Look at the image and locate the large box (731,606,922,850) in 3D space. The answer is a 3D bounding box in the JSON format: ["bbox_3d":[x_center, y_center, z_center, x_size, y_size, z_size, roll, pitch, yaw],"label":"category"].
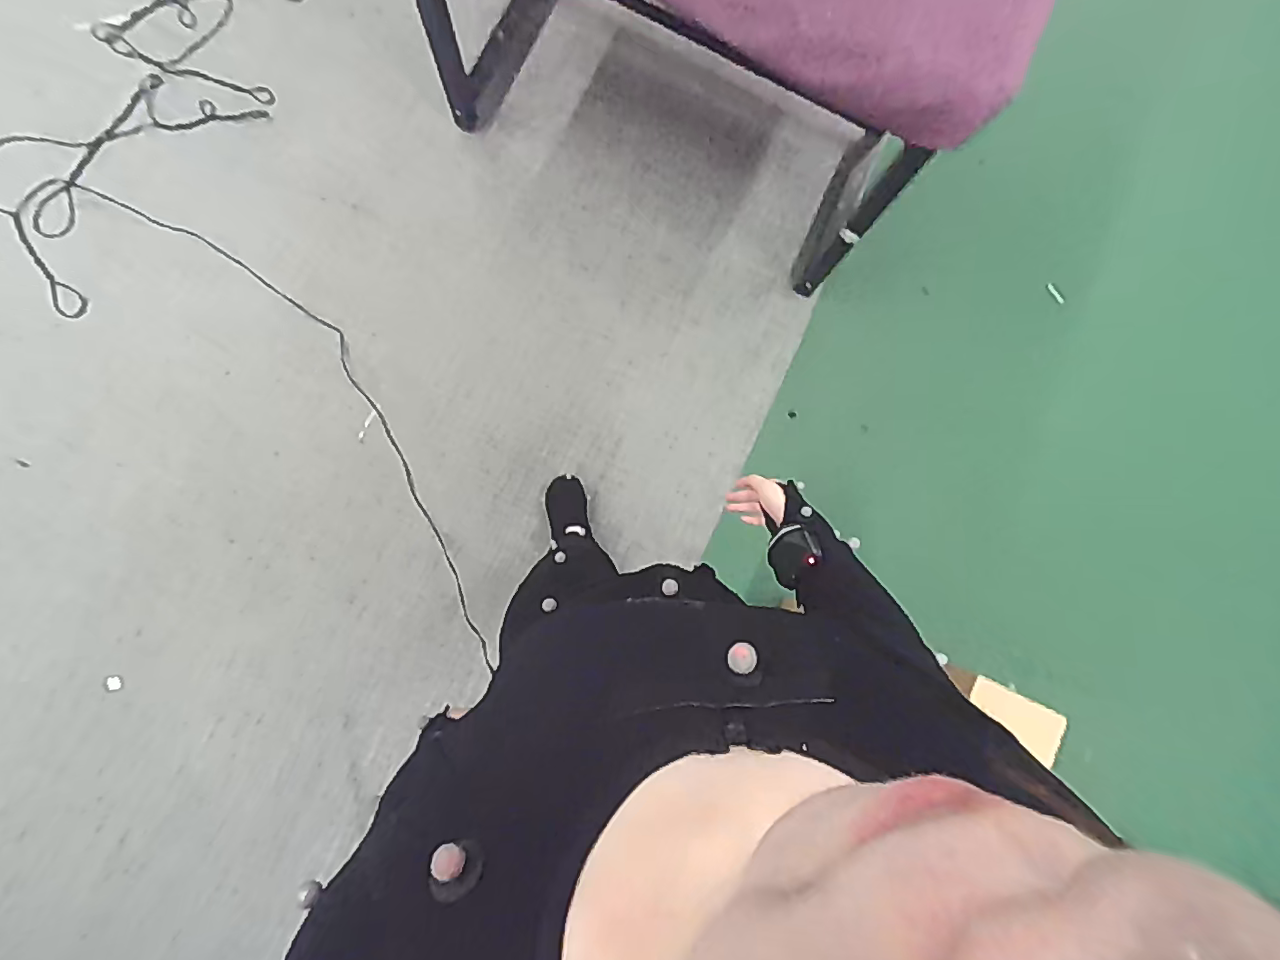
[{"bbox_3d":[0.473,0.571,1.334,0.320,0.320,0.408,27,82,0],"label":"large box"}]

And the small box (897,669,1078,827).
[{"bbox_3d":[0.597,0.453,0.947,0.179,0.176,0.168,26,82,-1],"label":"small box"}]
